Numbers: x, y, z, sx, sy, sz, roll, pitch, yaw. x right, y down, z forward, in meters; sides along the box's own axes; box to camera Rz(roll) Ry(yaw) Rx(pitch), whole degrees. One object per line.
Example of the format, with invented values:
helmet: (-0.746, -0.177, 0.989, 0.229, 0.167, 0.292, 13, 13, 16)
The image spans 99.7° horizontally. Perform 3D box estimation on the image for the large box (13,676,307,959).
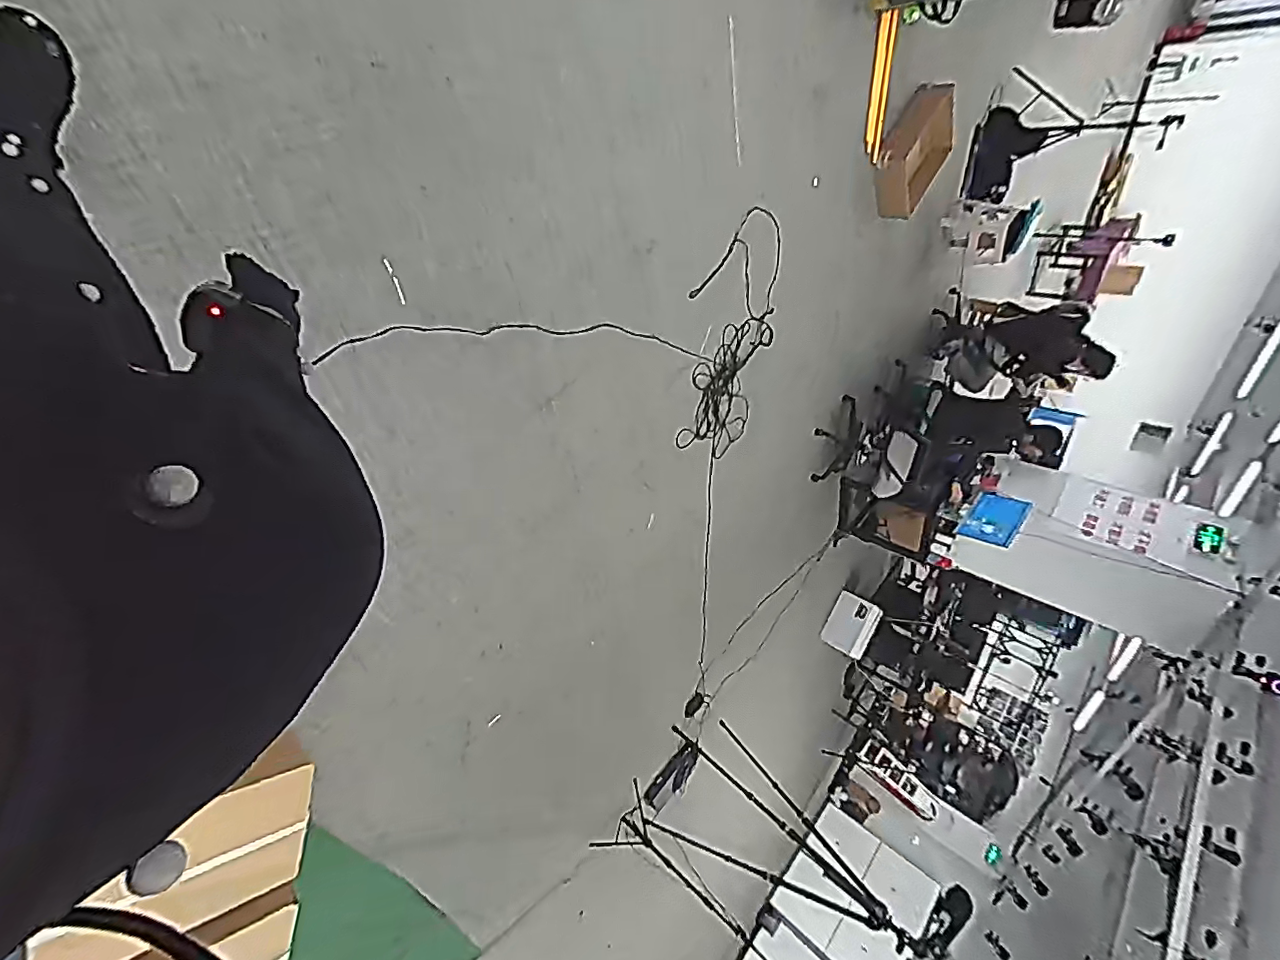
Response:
large box: (-0.970, 0.665, 1.106, 0.408, 0.320, 0.320, 1, 111, -50)
